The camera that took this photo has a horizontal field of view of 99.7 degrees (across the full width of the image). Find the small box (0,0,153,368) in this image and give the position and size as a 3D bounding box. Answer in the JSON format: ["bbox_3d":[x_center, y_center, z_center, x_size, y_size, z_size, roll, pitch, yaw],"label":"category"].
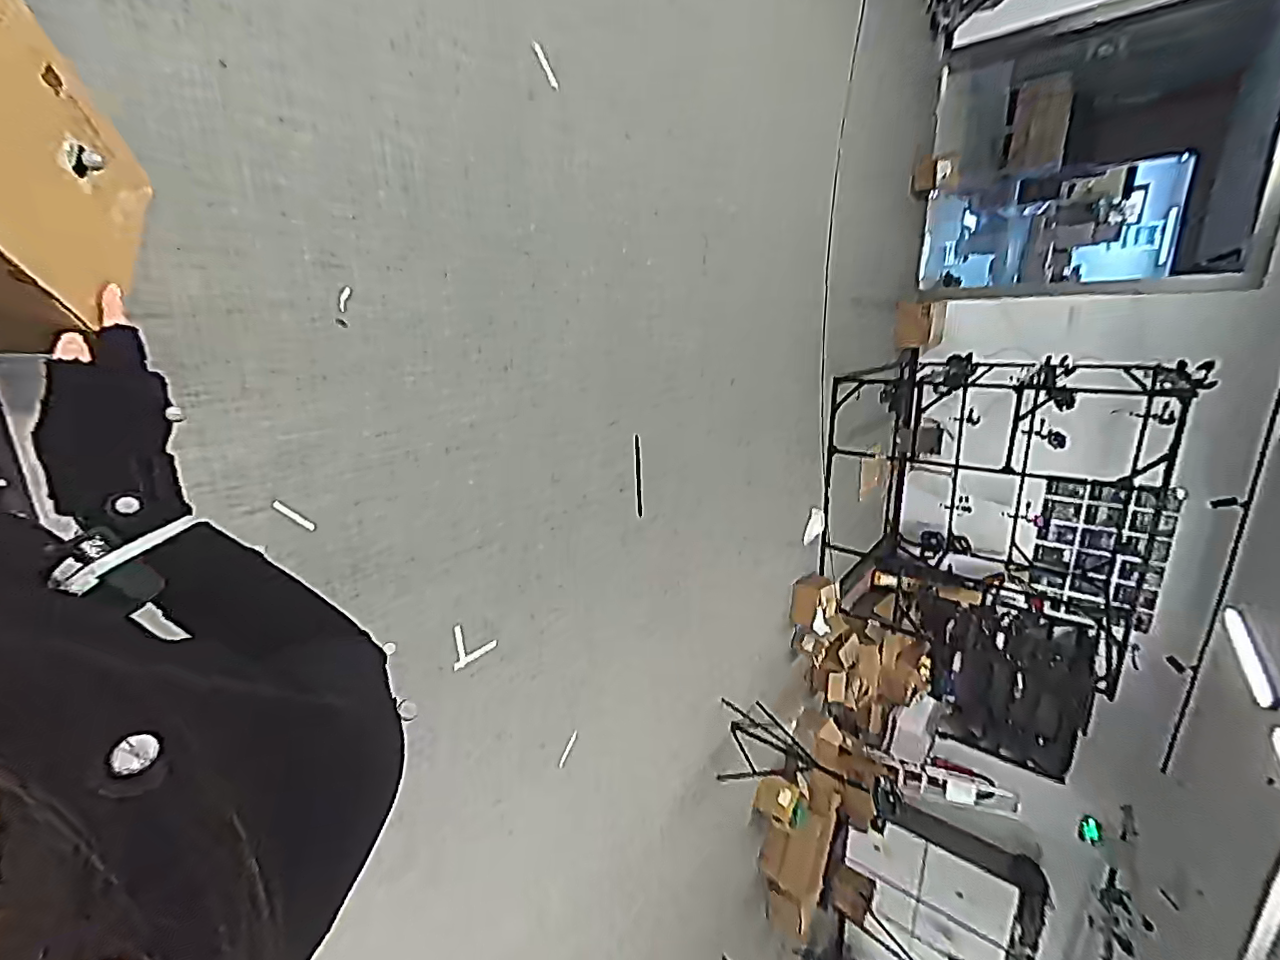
[{"bbox_3d":[-0.460,-0.186,0.337,0.179,0.168,0.176,-5,71,-13],"label":"small box"}]
